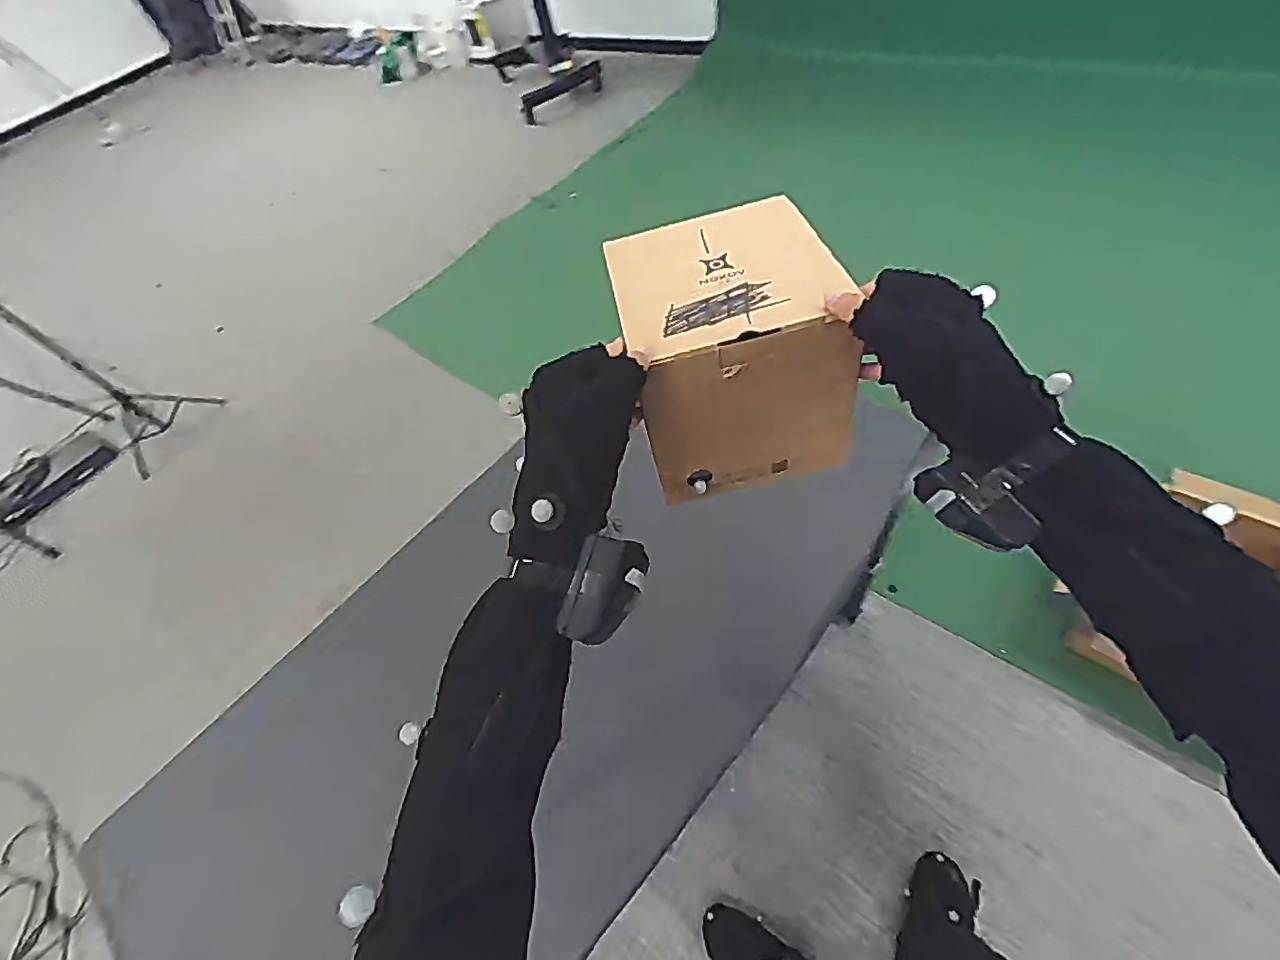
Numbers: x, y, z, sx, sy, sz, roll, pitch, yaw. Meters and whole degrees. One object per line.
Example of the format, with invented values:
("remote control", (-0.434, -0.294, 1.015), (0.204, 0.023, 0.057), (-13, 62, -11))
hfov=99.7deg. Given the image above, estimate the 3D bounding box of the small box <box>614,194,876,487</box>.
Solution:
("small box", (0.083, -0.111, 0.474), (0.168, 0.176, 0.179), (-13, 51, 3))
